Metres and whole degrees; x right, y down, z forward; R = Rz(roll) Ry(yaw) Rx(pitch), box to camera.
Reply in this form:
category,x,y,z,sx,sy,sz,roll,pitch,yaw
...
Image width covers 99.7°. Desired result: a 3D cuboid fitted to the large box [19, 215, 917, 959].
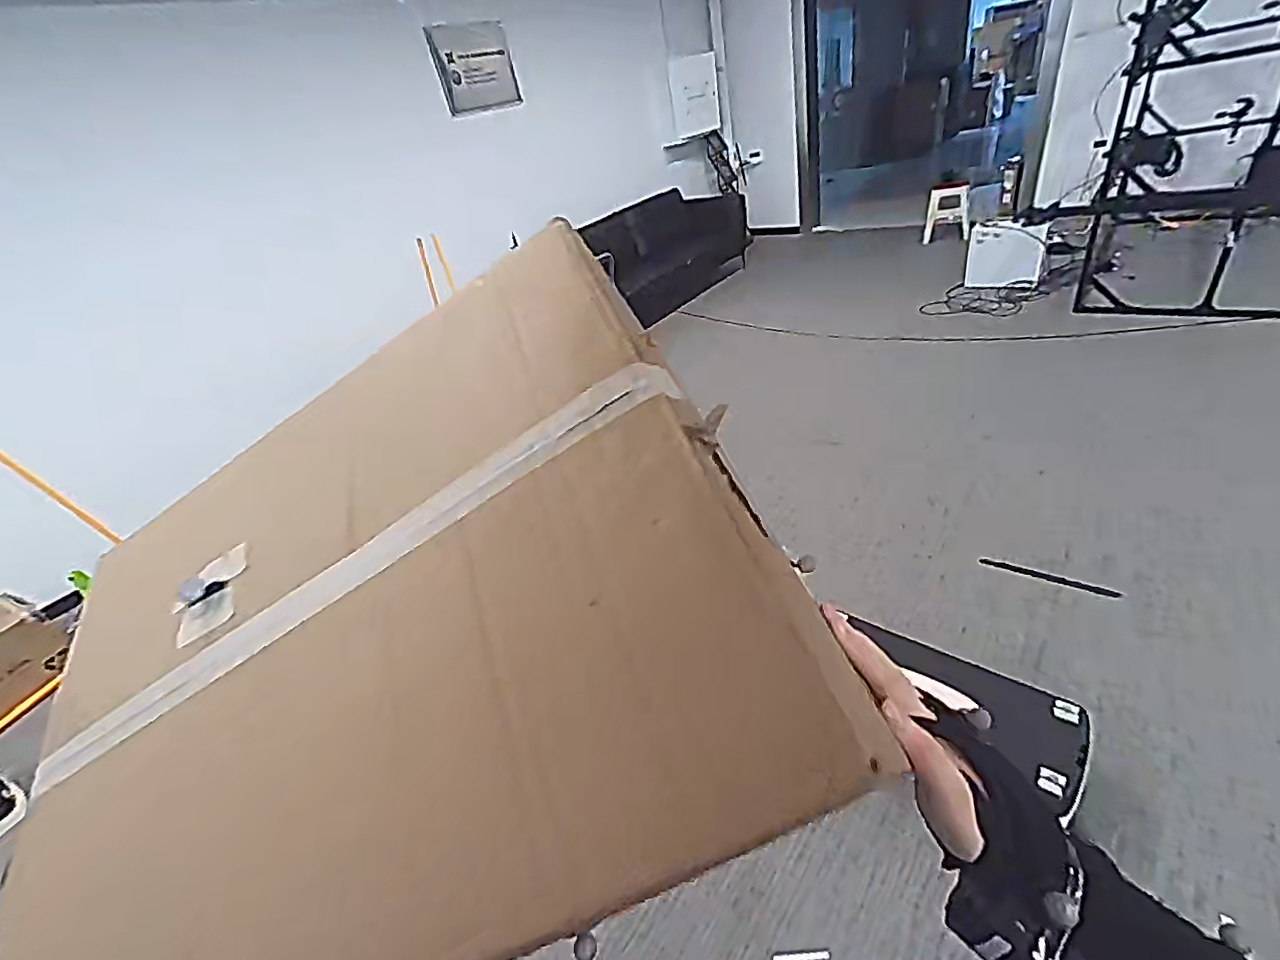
category,x,y,z,sx,sy,sz,roll,pitch,yaw
large box,-0.084,0.124,0.379,0.408,0.320,0.320,-33,54,11

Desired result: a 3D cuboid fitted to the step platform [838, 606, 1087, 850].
category,x,y,z,sx,sy,sz,roll,pitch,yaw
step platform,0.747,0.605,1.442,0.286,0.204,0.684,-37,38,-30
